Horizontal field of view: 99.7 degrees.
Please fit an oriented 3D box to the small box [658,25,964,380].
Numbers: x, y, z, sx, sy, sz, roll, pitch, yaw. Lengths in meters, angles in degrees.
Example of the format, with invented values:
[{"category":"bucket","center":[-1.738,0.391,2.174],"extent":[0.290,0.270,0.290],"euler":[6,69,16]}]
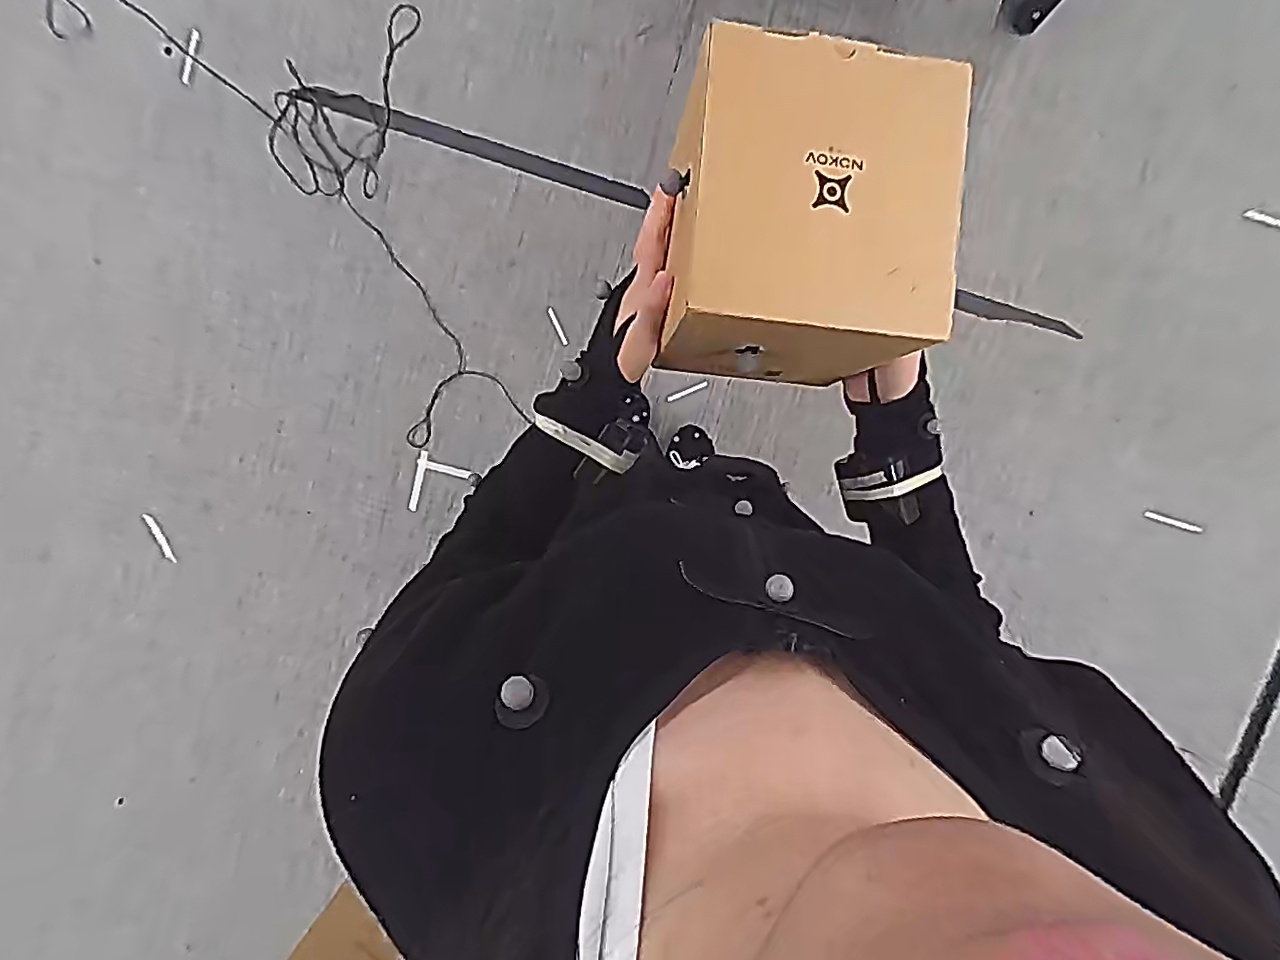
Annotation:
[{"category":"small box","center":[0.108,-0.180,0.410],"extent":[0.168,0.176,0.179],"euler":[4,88,-6]}]
